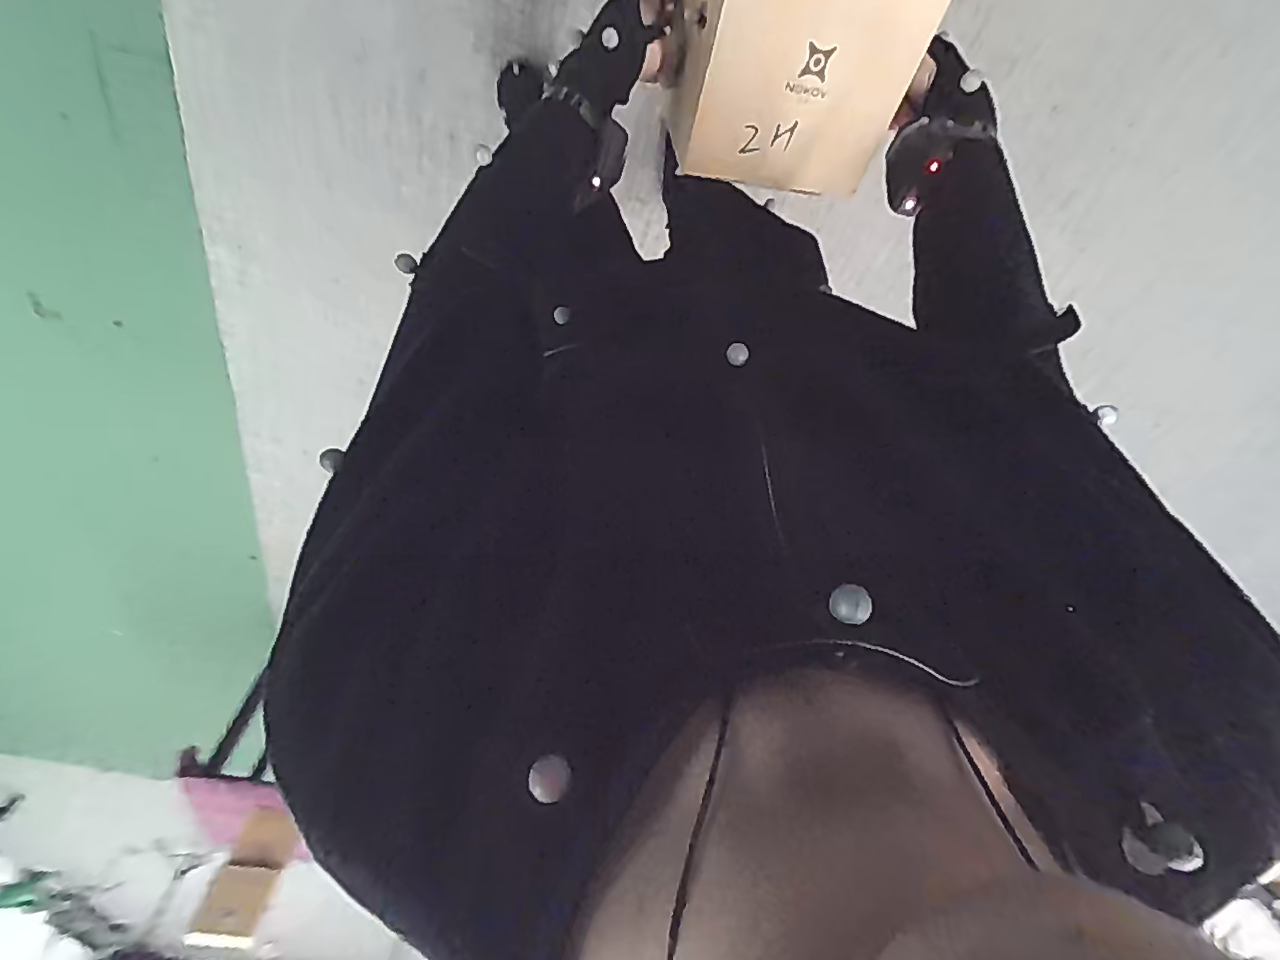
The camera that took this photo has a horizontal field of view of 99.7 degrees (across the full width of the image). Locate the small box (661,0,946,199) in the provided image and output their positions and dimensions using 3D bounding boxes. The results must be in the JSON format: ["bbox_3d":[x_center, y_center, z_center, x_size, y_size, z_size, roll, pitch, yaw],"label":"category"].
[{"bbox_3d":[0.119,-0.375,0.457,0.168,0.176,0.179,3,143,-12],"label":"small box"}]

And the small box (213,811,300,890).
[{"bbox_3d":[-1.240,1.193,1.746,0.179,0.176,0.168,23,127,-18],"label":"small box"}]

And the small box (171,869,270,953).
[{"bbox_3d":[-1.231,1.277,1.603,0.179,0.176,0.168,19,128,-14],"label":"small box"}]

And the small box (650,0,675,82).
[{"bbox_3d":[0.110,-0.512,0.550,0.179,0.176,0.168,1,143,-10],"label":"small box"}]
